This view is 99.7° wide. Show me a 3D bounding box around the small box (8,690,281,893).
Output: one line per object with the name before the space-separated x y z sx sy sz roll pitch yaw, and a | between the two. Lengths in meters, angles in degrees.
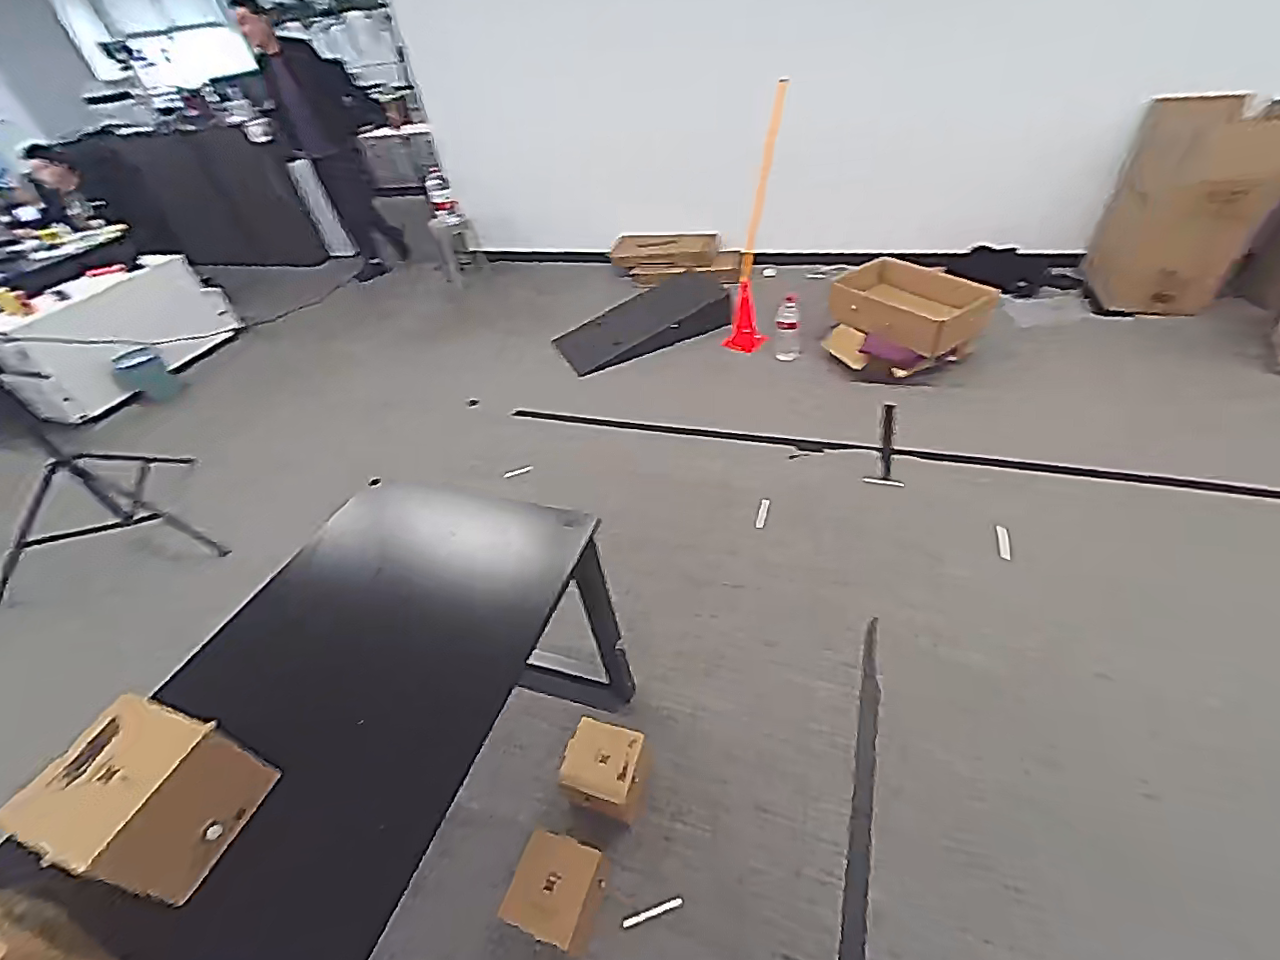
small box | -0.644 0.417 0.726 0.179 0.176 0.168 9 45 19

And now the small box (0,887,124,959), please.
small box | -0.726 0.565 0.578 0.179 0.176 0.168 11 44 22

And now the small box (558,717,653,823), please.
small box | -0.079 0.735 1.365 0.179 0.176 0.168 8 45 19

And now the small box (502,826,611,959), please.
small box | -0.173 0.909 1.192 0.168 0.176 0.179 8 45 20
